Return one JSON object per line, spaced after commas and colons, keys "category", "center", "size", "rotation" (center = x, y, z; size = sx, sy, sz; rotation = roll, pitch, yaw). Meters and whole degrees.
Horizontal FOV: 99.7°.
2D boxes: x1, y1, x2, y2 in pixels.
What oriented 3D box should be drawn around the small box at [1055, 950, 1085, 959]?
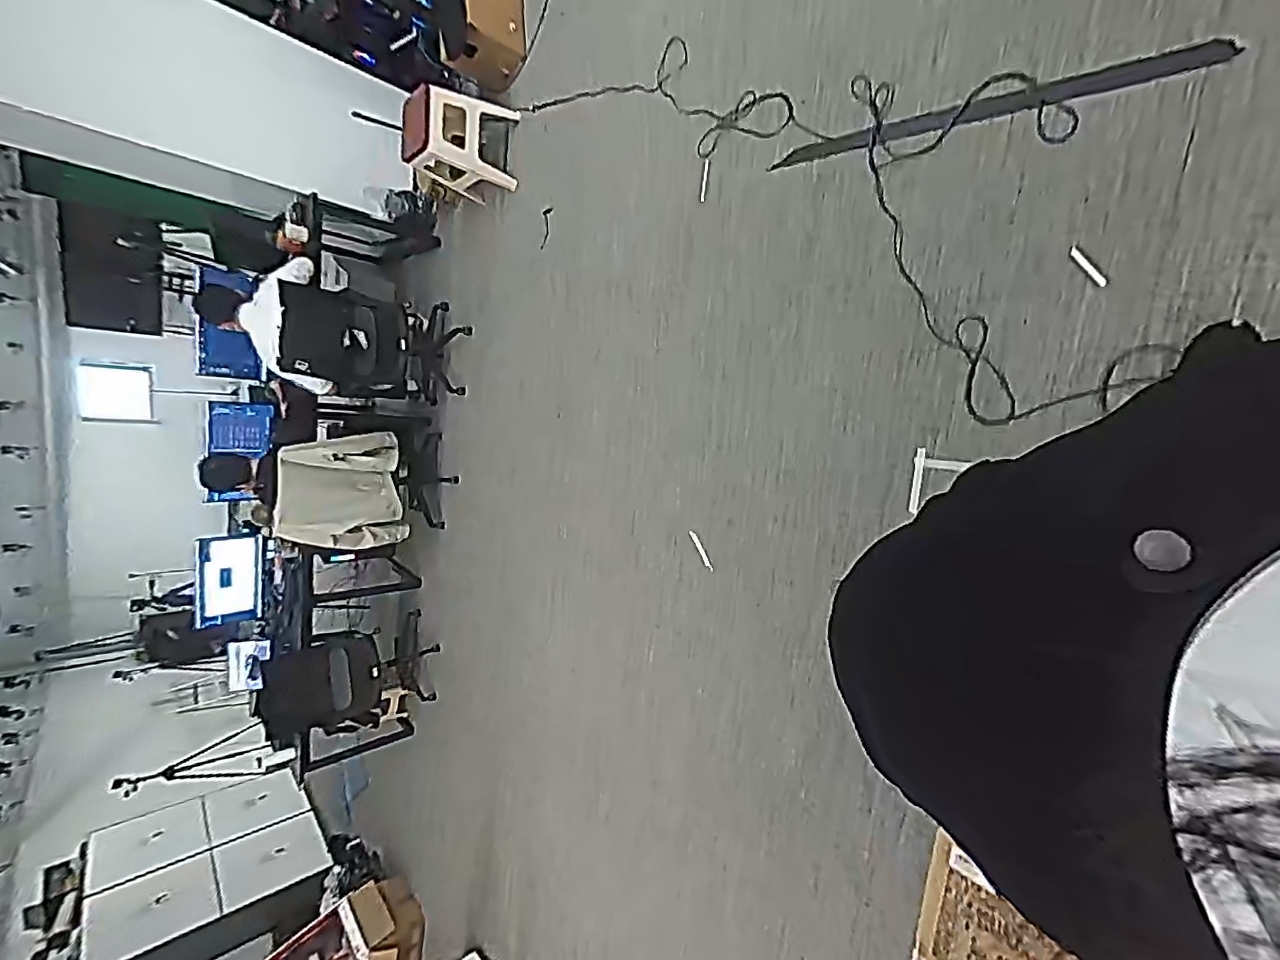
{"category": "small box", "center": [0.637, 0.813, 0.735], "size": [0.168, 0.176, 0.179], "rotation": [18, 102, 44]}
